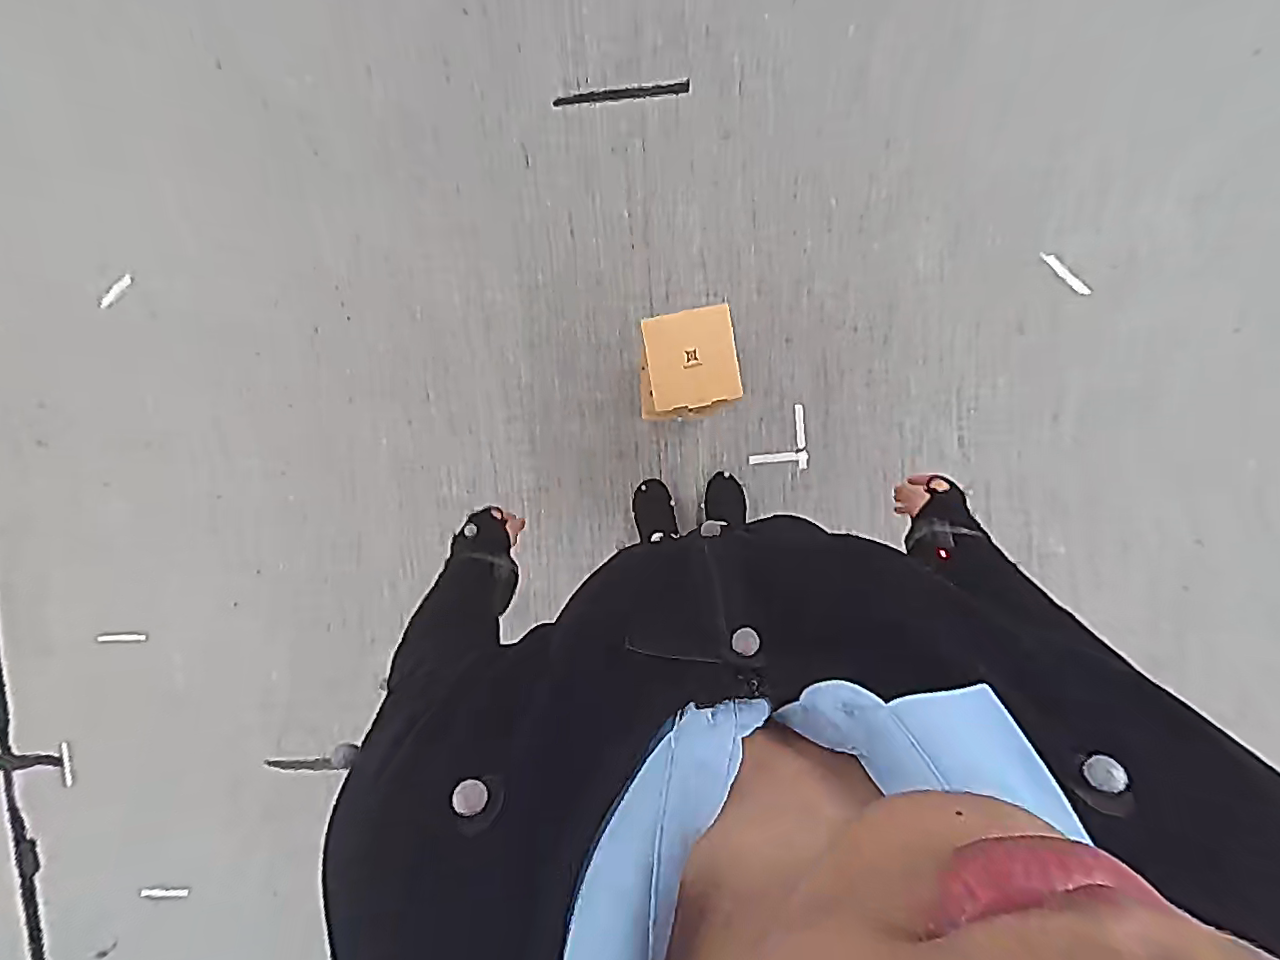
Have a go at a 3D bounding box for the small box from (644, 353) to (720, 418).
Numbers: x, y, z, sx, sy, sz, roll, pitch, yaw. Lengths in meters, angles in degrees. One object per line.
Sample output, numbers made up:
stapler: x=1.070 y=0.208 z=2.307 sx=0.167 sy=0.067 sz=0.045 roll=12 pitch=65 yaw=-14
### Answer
small box: x=0.097 y=-0.236 z=1.232 sx=0.168 sy=0.176 sz=0.179 roll=1 pitch=94 yaw=4

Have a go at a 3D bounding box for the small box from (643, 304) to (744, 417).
small box: x=0.101 y=-0.227 z=1.069 sx=0.168 sy=0.176 sz=0.179 roll=-10 pitch=93 yaw=4
